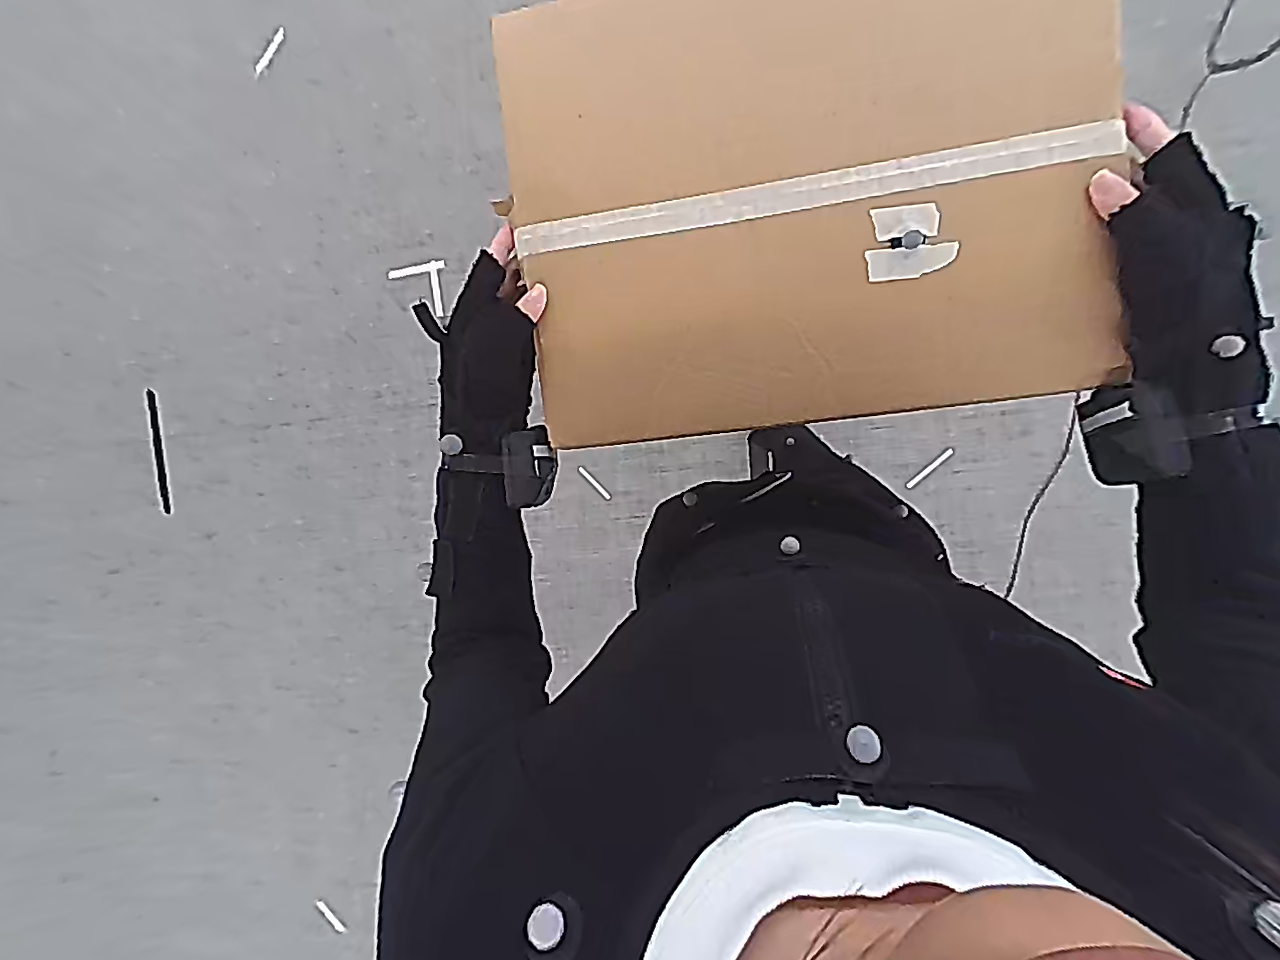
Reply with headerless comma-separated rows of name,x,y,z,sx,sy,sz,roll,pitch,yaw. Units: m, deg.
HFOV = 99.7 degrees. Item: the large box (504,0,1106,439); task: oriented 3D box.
large box,0.127,-0.223,0.536,0.408,0.320,0.320,-7,96,7
